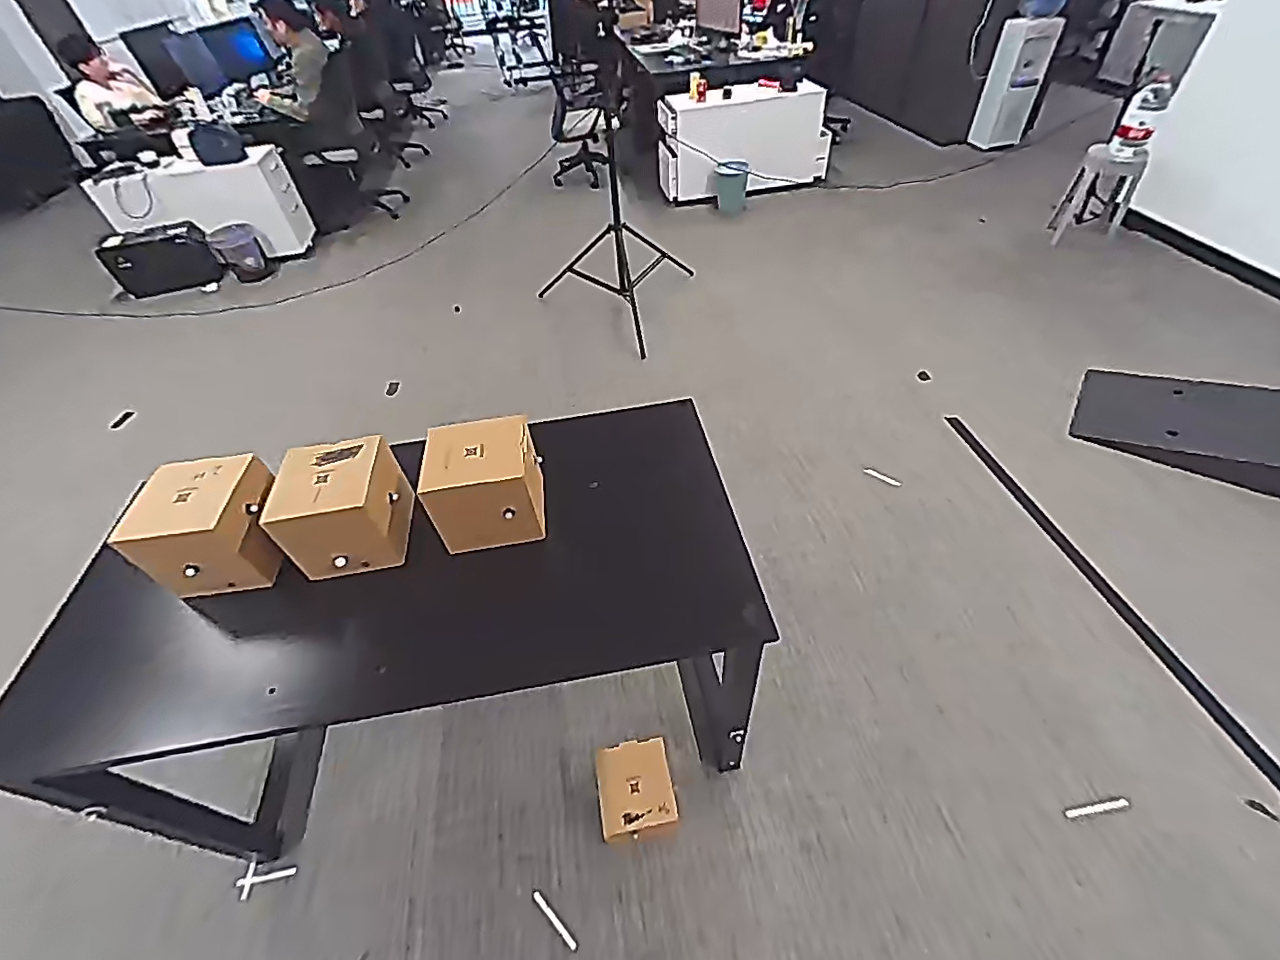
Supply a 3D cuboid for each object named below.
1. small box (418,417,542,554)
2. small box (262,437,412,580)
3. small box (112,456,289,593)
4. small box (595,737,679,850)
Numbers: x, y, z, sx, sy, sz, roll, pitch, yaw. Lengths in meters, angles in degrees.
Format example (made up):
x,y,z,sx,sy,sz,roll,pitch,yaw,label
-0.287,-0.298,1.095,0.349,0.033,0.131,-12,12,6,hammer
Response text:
x,y,z,sx,sy,sz,roll,pitch,yaw,label
-0.277,0.011,0.983,0.179,0.176,0.168,-10,45,-3,small box
-0.522,0.052,0.964,0.168,0.176,0.179,-10,48,-5,small box
-0.744,0.085,0.956,0.168,0.176,0.179,-7,46,-2,small box
-0.007,0.737,1.269,0.168,0.176,0.179,-11,46,-4,small box
